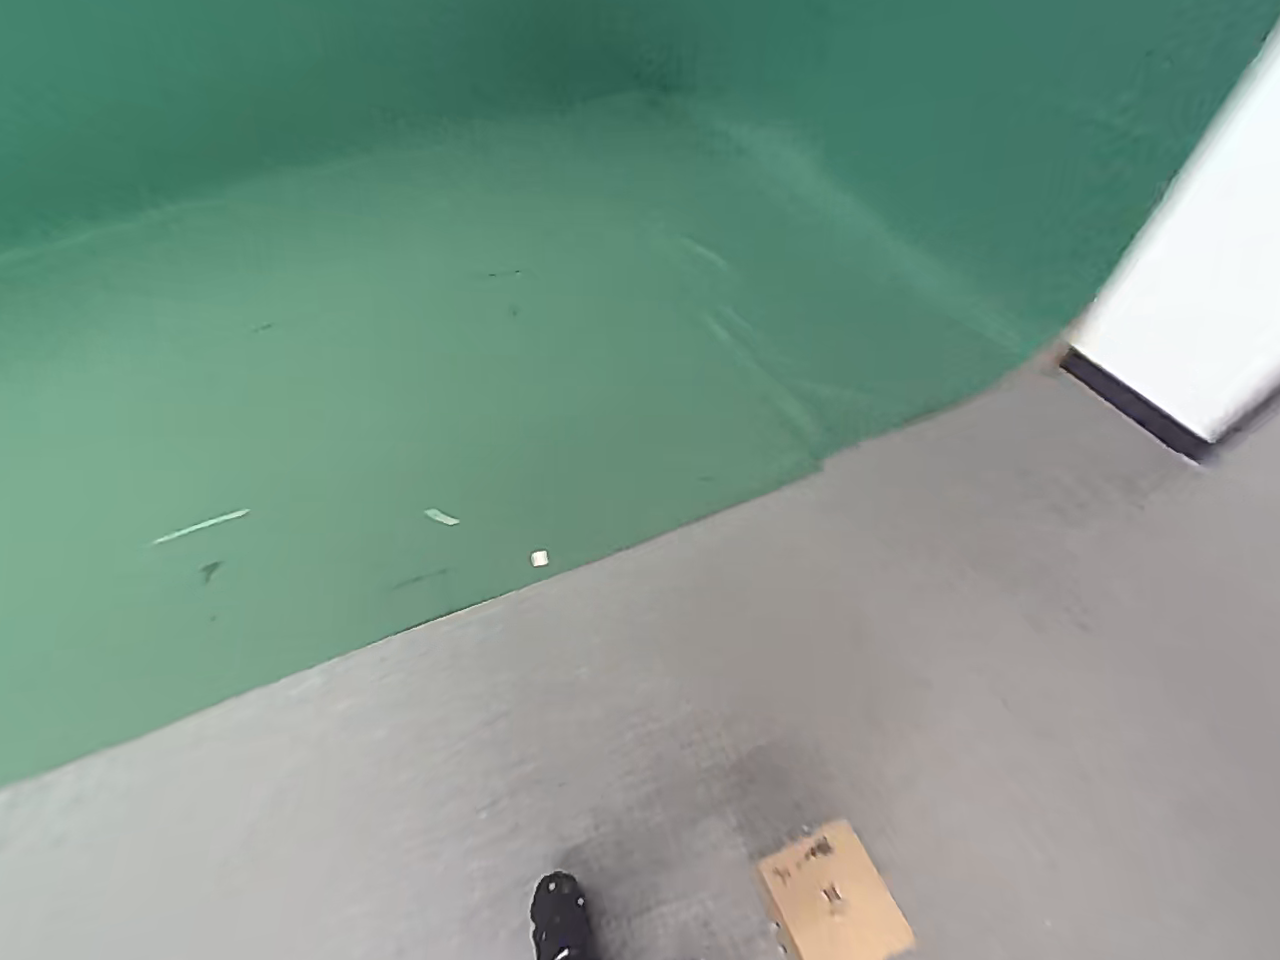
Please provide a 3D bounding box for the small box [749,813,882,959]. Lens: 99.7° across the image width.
[{"bbox_3d":[0.324,0.770,1.035,0.168,0.176,0.179,-20,53,-8],"label":"small box"}]
